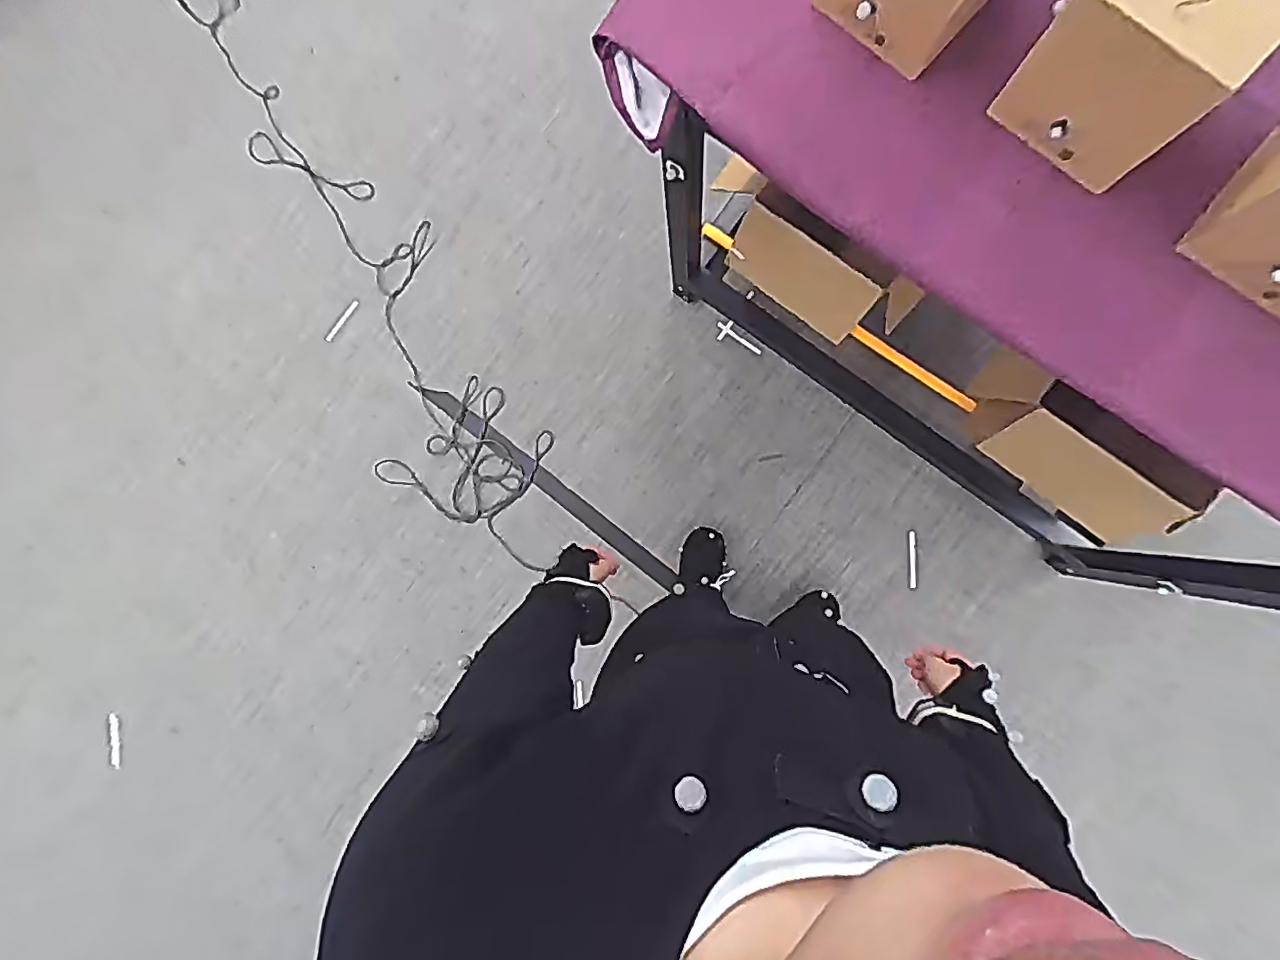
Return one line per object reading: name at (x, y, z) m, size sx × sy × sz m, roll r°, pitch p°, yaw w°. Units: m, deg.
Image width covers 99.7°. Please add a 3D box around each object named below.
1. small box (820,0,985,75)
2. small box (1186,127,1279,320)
small box at (0.323, -0.607, 0.583) m, size 0.168 × 0.176 × 0.179 m, roll 43°, pitch 93°, yaw 5°
small box at (0.724, -0.291, 0.534) m, size 0.168 × 0.176 × 0.179 m, roll 40°, pitch 91°, yaw 6°
